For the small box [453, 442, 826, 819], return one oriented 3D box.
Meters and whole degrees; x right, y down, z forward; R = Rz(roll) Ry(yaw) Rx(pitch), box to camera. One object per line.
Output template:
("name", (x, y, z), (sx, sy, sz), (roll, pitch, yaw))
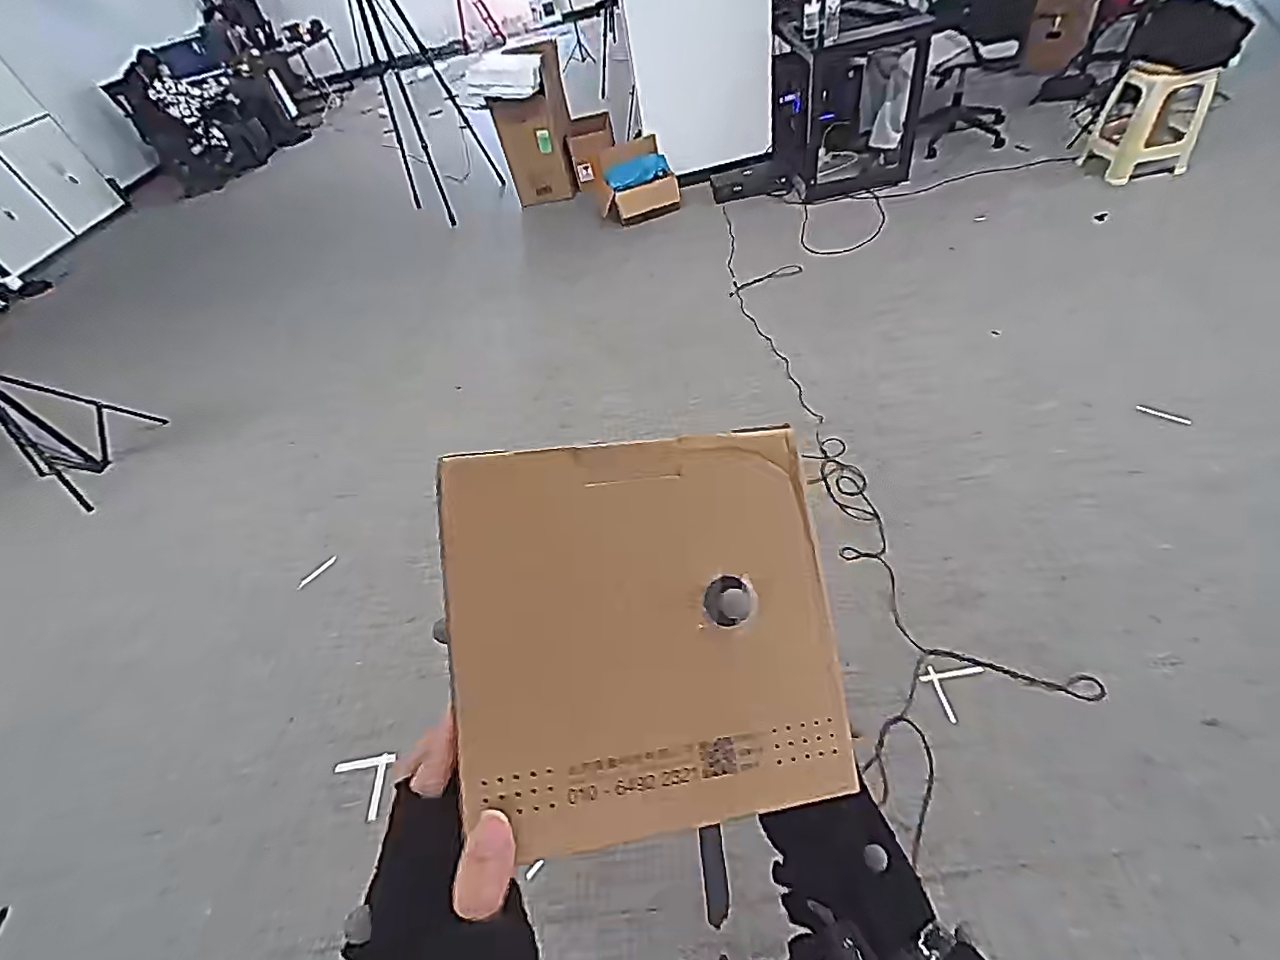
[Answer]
("small box", (-0.005, 0.084, 0.333), (0.168, 0.179, 0.176), (-6, 82, -7))
